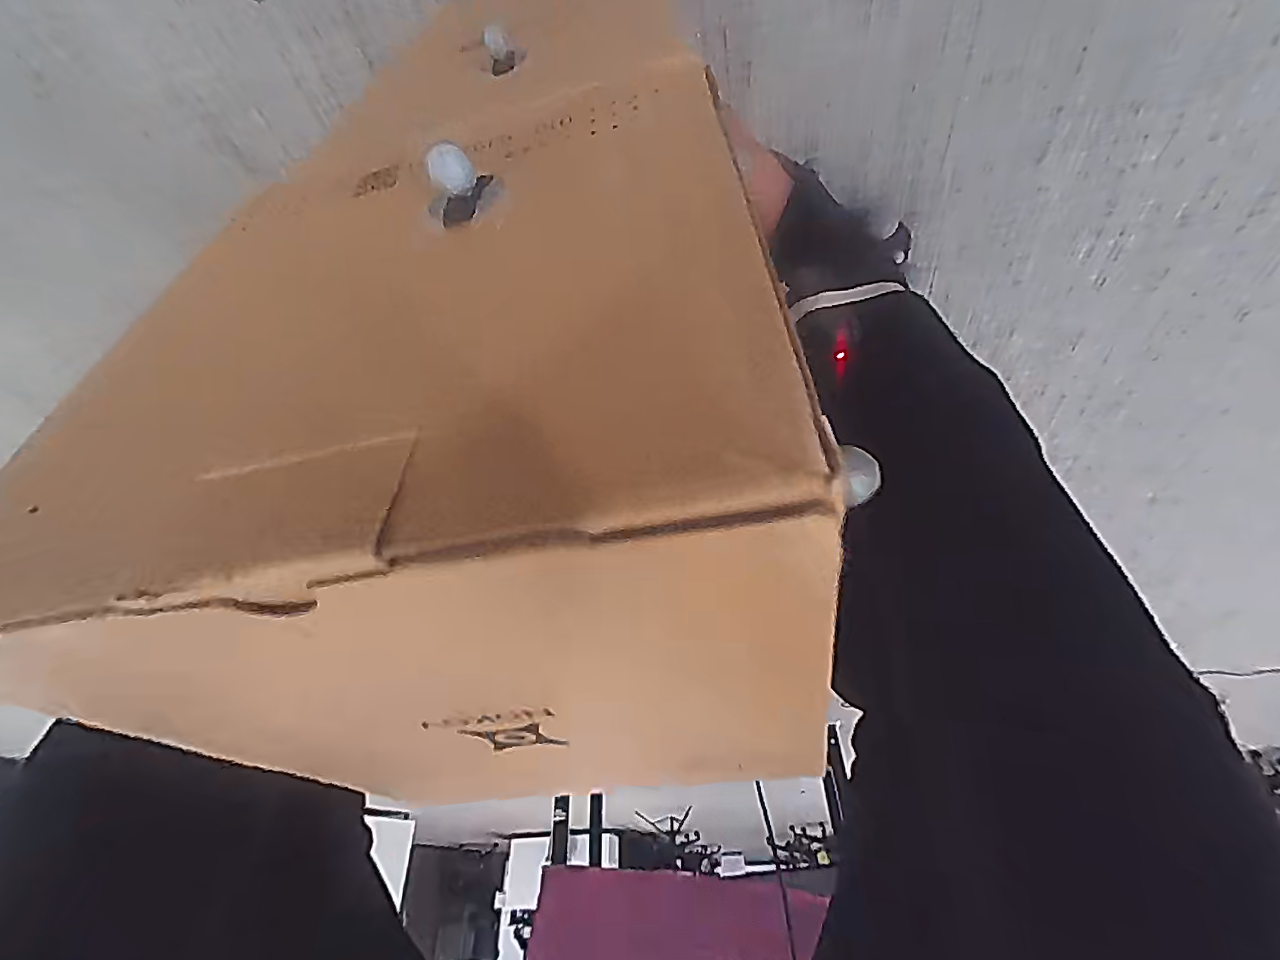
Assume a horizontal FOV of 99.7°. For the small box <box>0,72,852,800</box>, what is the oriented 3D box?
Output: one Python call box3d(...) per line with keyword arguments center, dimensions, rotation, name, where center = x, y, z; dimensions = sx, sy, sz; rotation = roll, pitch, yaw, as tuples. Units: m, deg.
box3d(center=(-0.035, 0.001, 0.191), dimensions=(0.168, 0.176, 0.179), rotation=(-10, 140, 10), name="small box")
